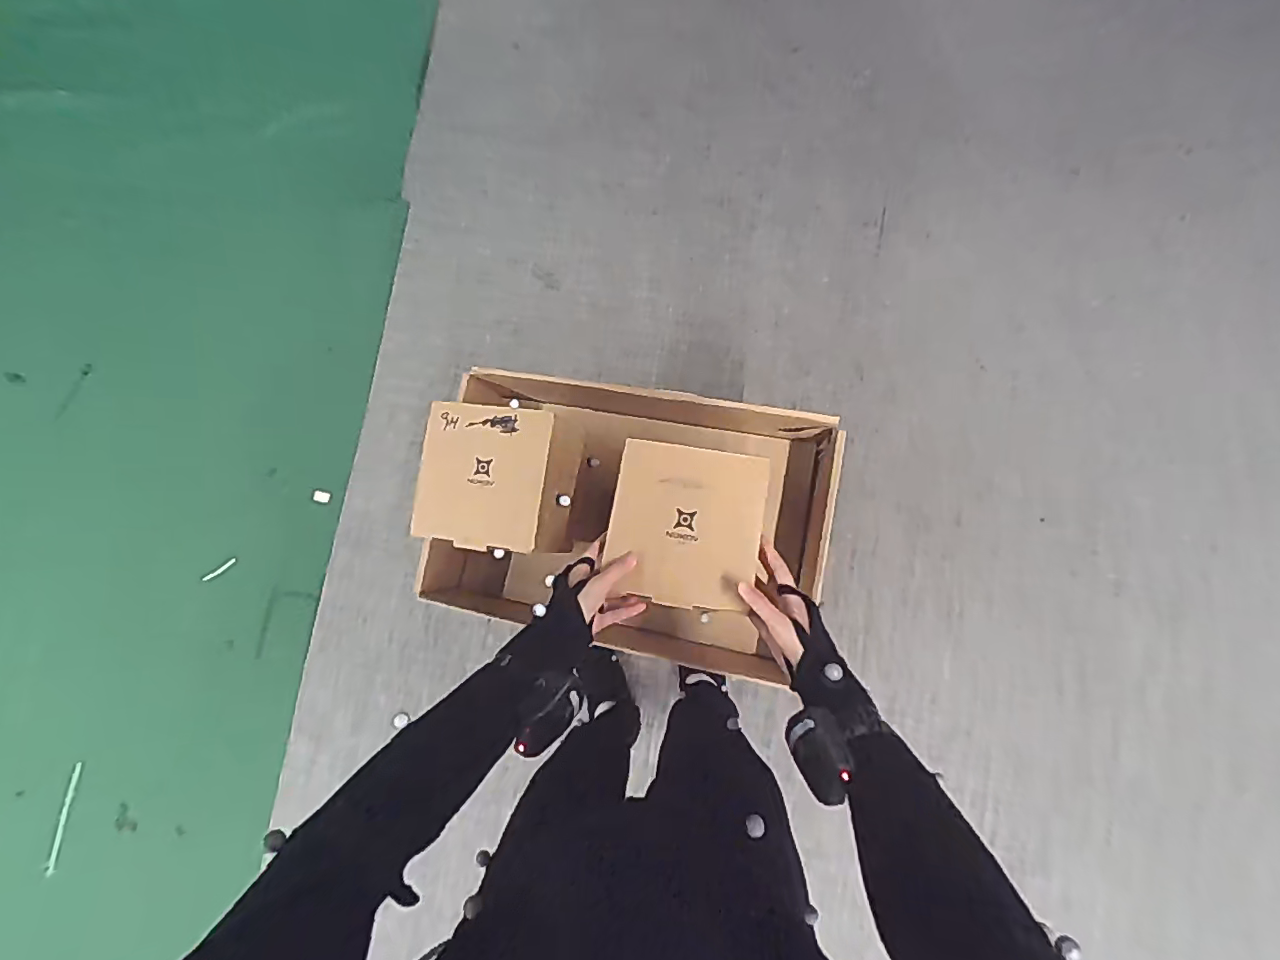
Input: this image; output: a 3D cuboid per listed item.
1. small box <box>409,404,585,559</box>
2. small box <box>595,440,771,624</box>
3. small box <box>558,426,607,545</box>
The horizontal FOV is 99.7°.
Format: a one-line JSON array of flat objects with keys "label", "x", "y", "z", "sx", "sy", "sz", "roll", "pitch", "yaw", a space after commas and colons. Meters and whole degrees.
[{"label": "small box", "x": -0.182, "y": 0.006, "z": 0.736, "sx": 0.168, "sy": 0.176, "sz": 0.179, "roll": 7, "pitch": 85, "yaw": 11}, {"label": "small box", "x": 0.057, "y": 0.067, "z": 0.656, "sx": 0.168, "sy": 0.176, "sz": 0.179, "roll": 10, "pitch": 79, "yaw": 9}, {"label": "small box", "x": -0.158, "y": 0.010, "z": 0.898, "sx": 0.168, "sy": 0.176, "sz": 0.179, "roll": 6, "pitch": 84, "yaw": 12}]
